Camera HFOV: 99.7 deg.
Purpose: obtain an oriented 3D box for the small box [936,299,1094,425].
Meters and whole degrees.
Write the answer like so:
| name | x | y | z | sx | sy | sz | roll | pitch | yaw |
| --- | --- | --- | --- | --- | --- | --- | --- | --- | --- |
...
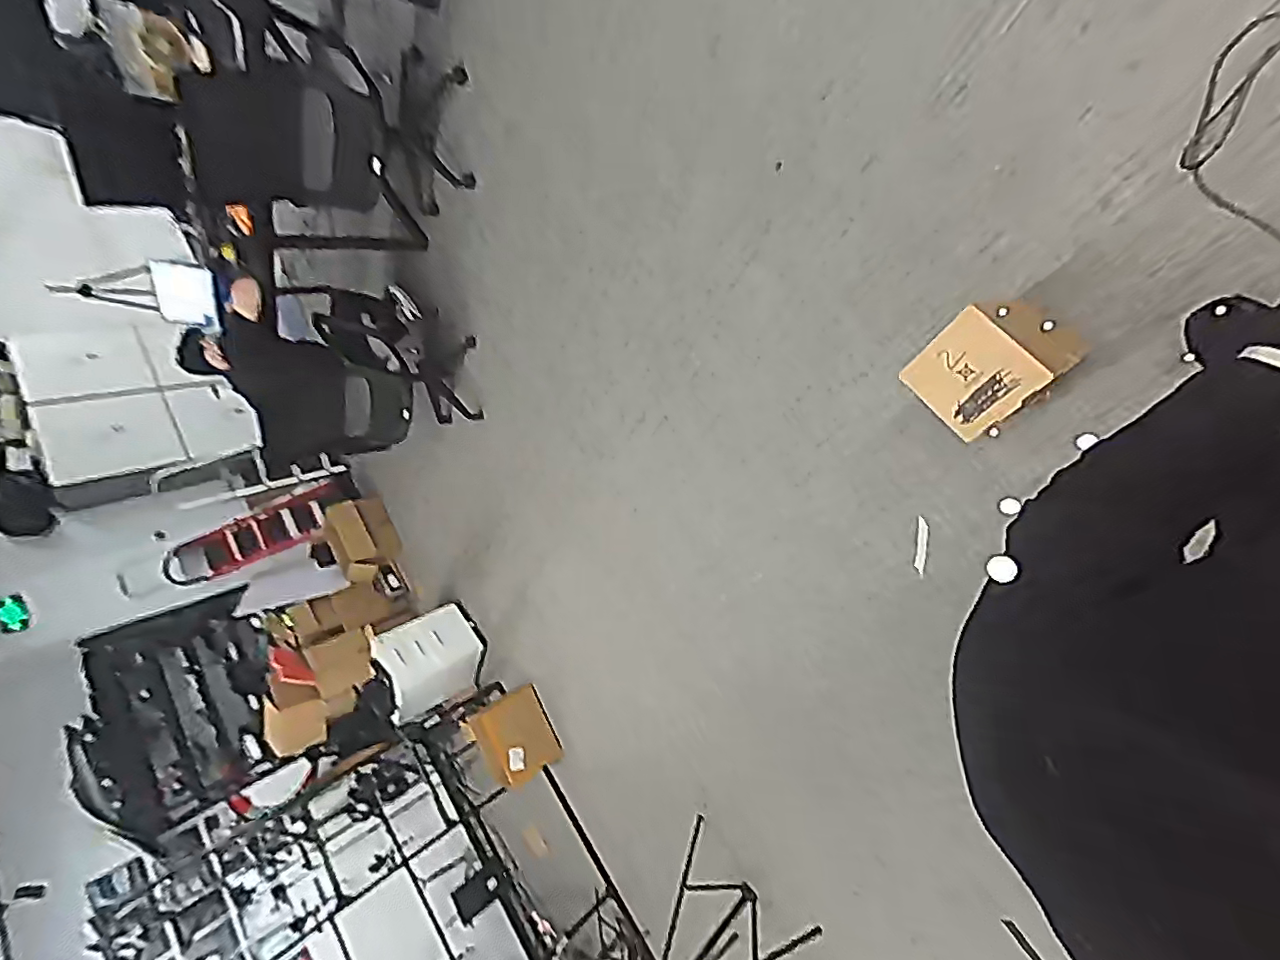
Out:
| name | x | y | z | sx | sy | sz | roll | pitch | yaw |
| --- | --- | --- | --- | --- | --- | --- | --- | --- | --- |
| small box | 0.734 | -0.236 | 1.060 | 0.179 | 0.176 | 0.168 | 49 | 136 | 21 |
